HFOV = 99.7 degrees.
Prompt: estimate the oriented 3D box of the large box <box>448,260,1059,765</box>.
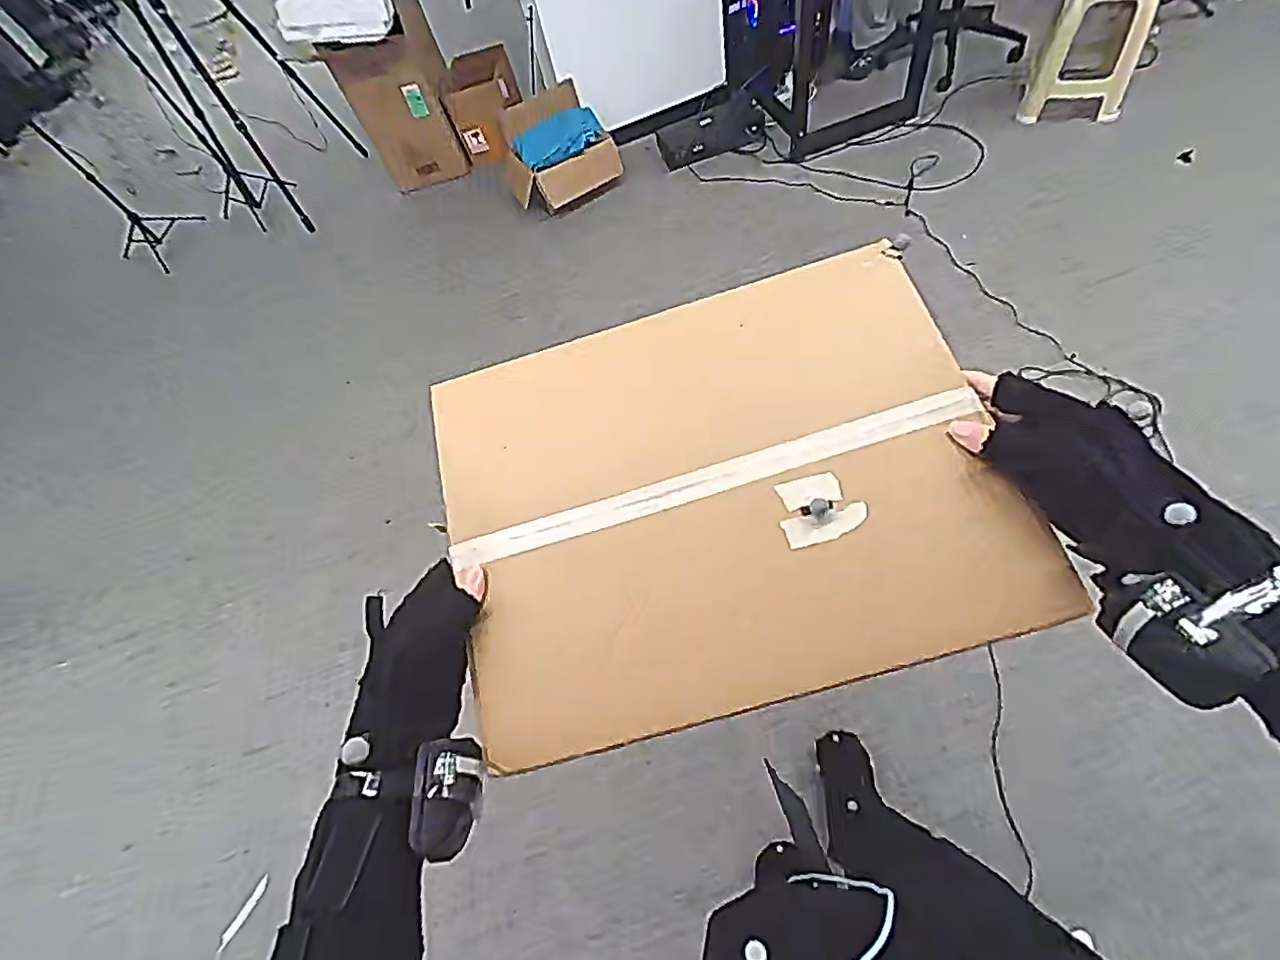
[{"bbox_3d":[0.075,0.054,0.560,0.408,0.320,0.320,-17,70,3],"label":"large box"}]
